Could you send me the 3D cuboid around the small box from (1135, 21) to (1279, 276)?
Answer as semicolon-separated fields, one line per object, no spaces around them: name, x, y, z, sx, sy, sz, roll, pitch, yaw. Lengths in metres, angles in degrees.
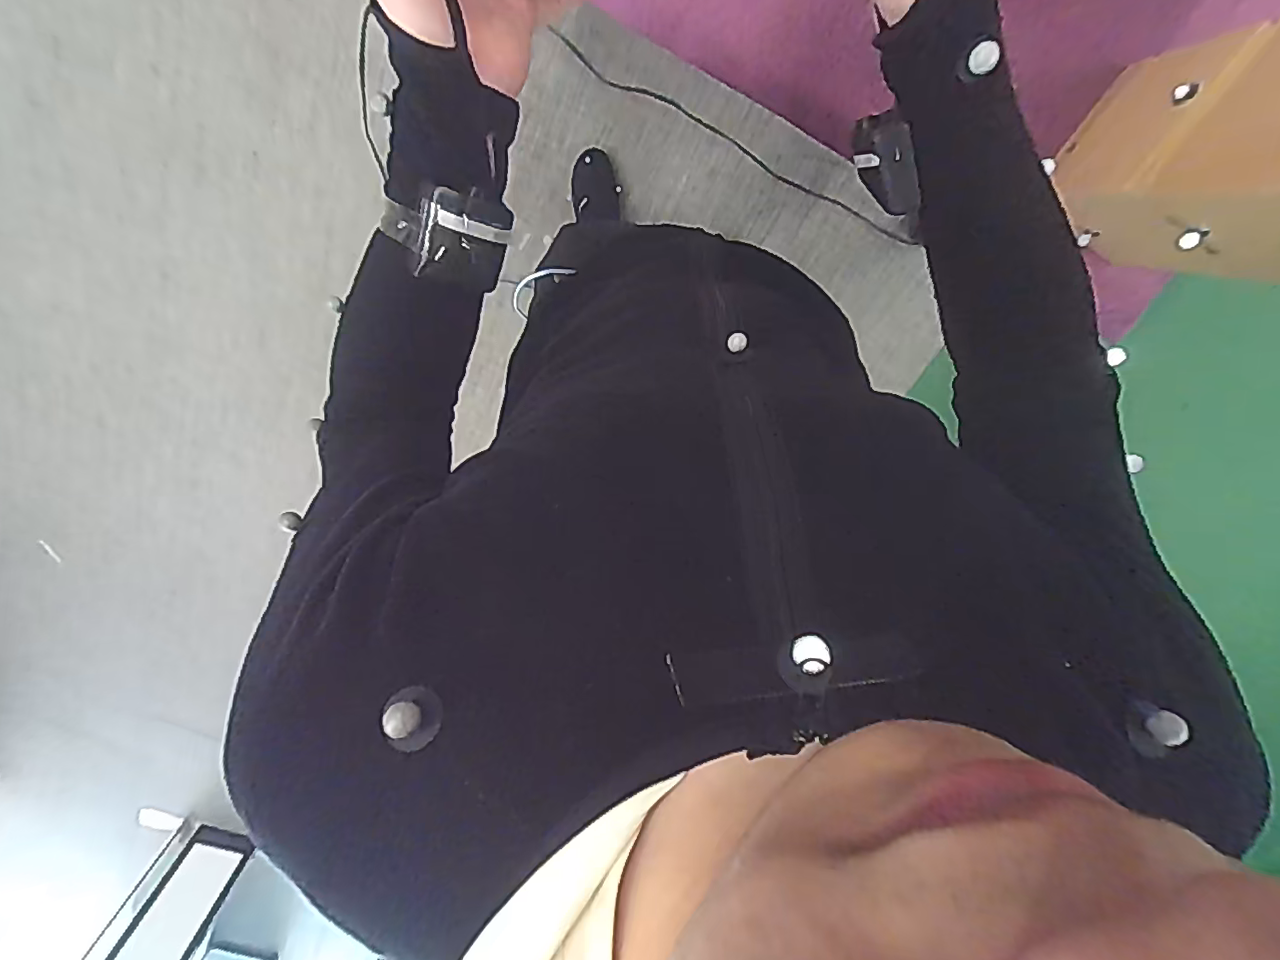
small box;0.625;-0.303;0.485;0.168;0.176;0.179;28;114;-12

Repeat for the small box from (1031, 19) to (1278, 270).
small box;0.624;-0.374;0.632;0.179;0.176;0.168;28;113;-13
